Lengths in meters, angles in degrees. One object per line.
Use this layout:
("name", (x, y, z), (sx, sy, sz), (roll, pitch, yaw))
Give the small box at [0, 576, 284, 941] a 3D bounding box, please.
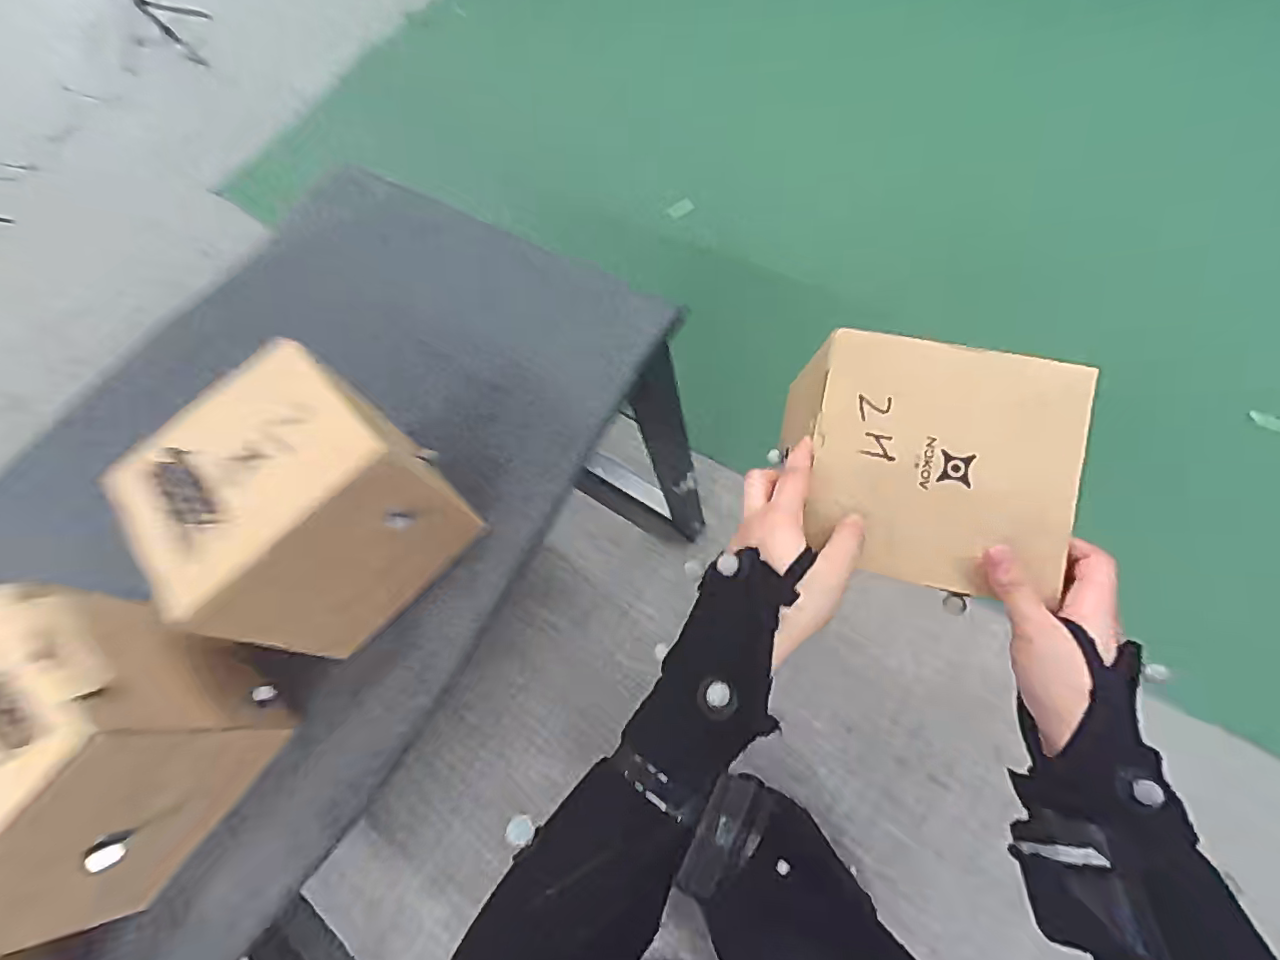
("small box", (-0.427, 0.207, 0.425), (0.168, 0.176, 0.179), (33, 78, 23))
